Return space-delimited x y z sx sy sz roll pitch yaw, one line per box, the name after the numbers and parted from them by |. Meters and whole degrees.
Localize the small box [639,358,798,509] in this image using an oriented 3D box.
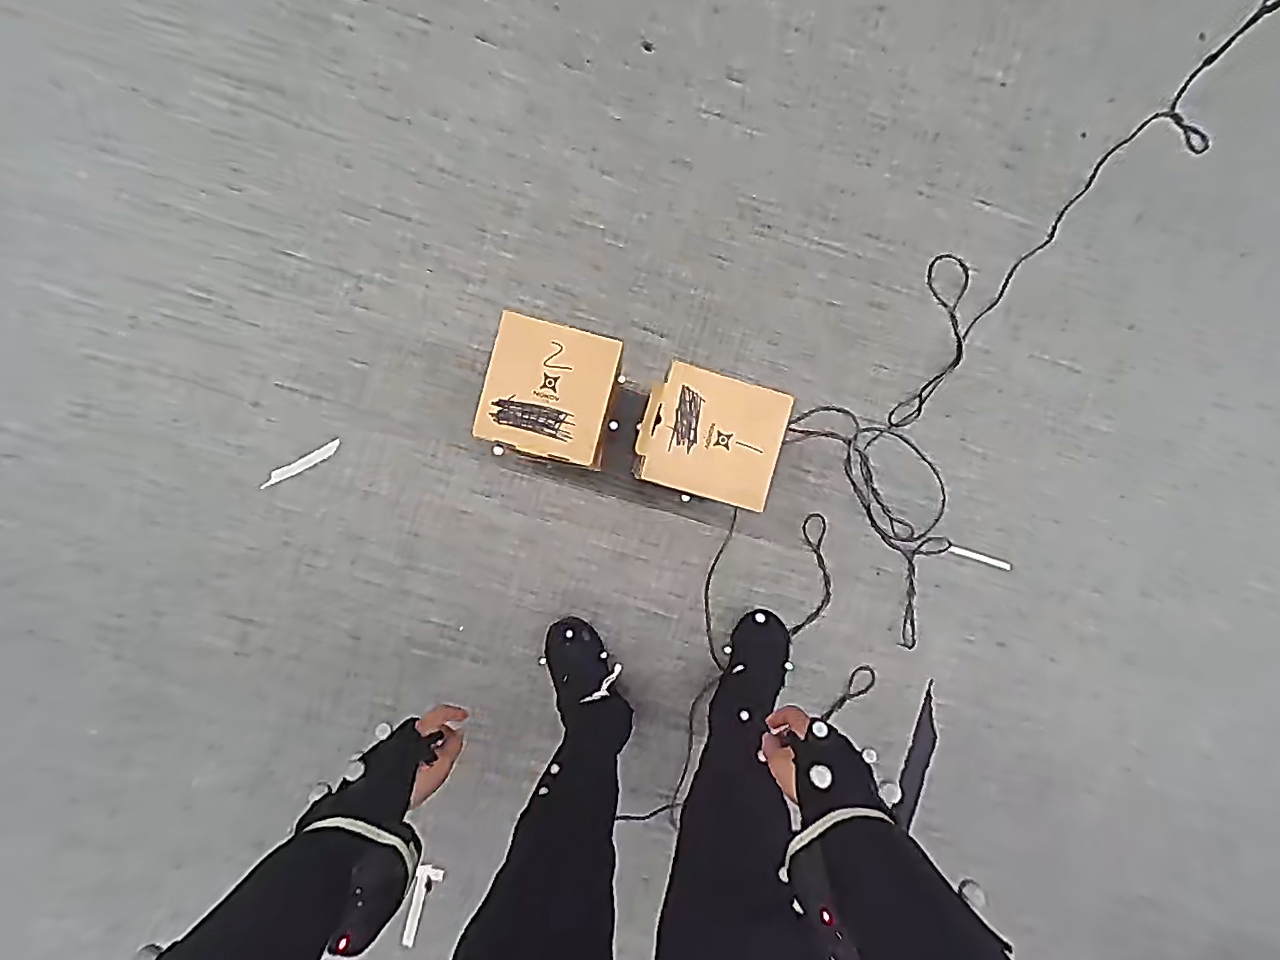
0.102 -0.060 0.798 0.179 0.176 0.168 17 90 -3 | small box

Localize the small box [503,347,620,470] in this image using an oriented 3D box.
-0.132 -0.117 0.956 0.168 0.176 0.179 10 90 -3 | small box
